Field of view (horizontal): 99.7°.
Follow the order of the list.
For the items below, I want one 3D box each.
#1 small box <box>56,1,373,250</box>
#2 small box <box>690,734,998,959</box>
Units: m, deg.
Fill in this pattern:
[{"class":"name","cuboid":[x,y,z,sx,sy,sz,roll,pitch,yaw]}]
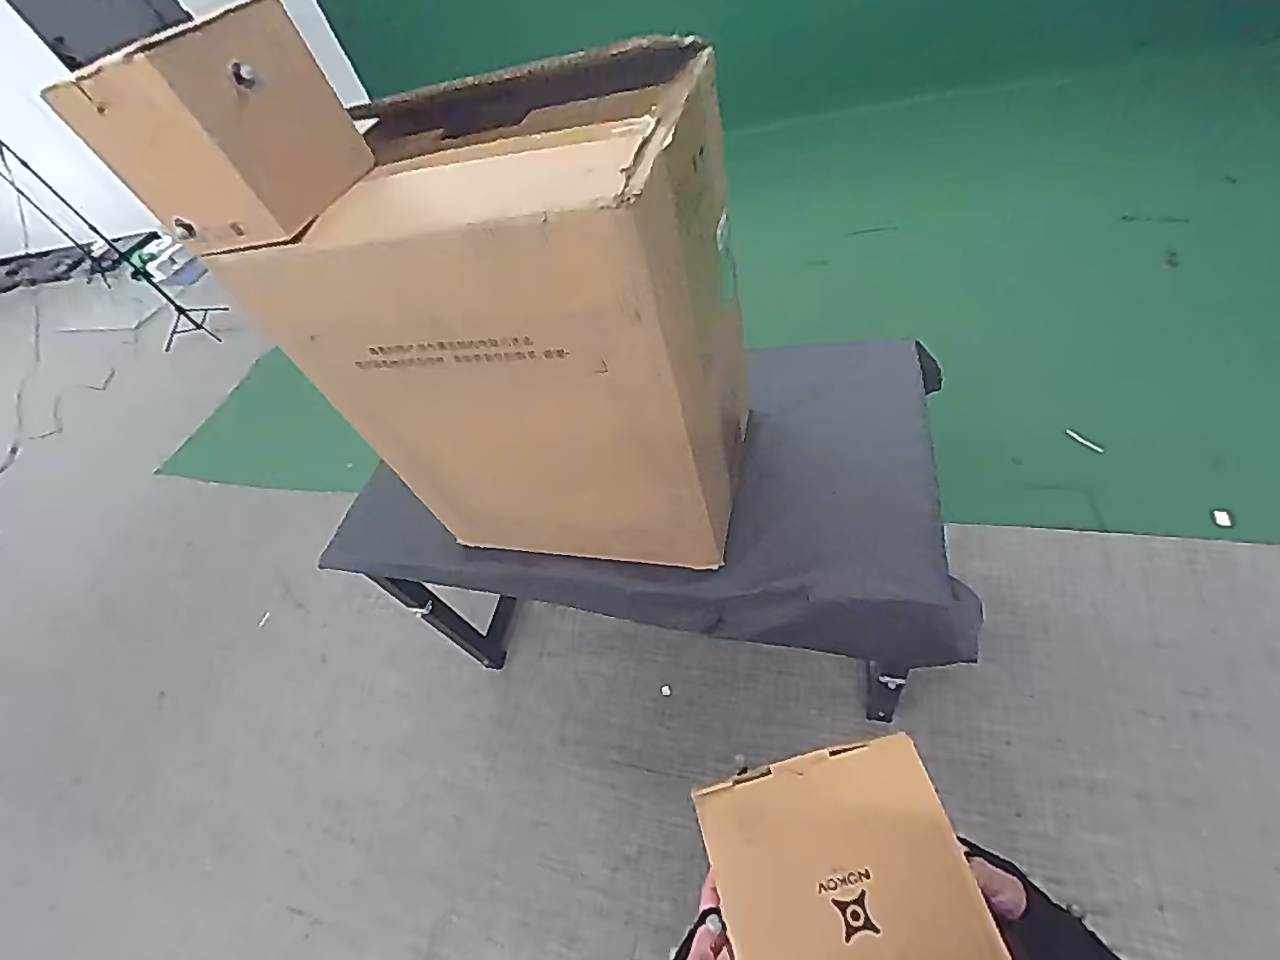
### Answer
[{"class":"small box","cuboid":[-0.434,-0.368,0.586,0.168,0.176,0.179,3,53,22]},{"class":"small box","cuboid":[0.139,0.316,0.422,0.168,0.176,0.179,-15,63,-1]}]
